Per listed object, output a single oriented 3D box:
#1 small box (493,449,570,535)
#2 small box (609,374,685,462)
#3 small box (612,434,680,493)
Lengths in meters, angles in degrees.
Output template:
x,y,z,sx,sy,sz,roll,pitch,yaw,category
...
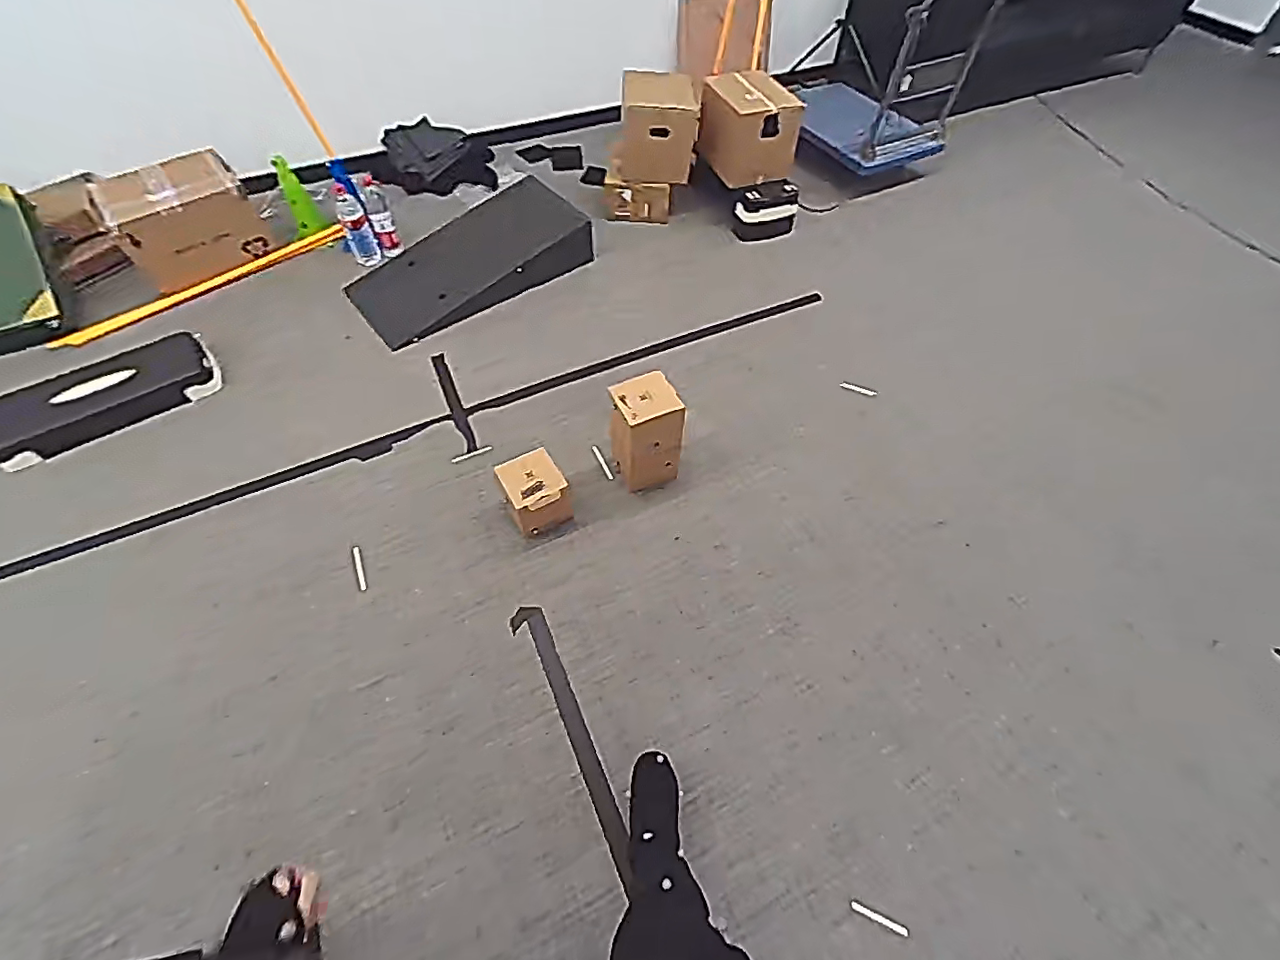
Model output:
x,y,z,sx,sy,sz,roll,pitch,yaw,category
-0.323,0.044,1.641,0.168,0.176,0.179,-26,59,-19,small box
0.015,-0.183,1.611,0.179,0.176,0.168,-19,57,-15,small box
0.013,-0.087,1.744,0.179,0.176,0.168,-19,57,-14,small box
